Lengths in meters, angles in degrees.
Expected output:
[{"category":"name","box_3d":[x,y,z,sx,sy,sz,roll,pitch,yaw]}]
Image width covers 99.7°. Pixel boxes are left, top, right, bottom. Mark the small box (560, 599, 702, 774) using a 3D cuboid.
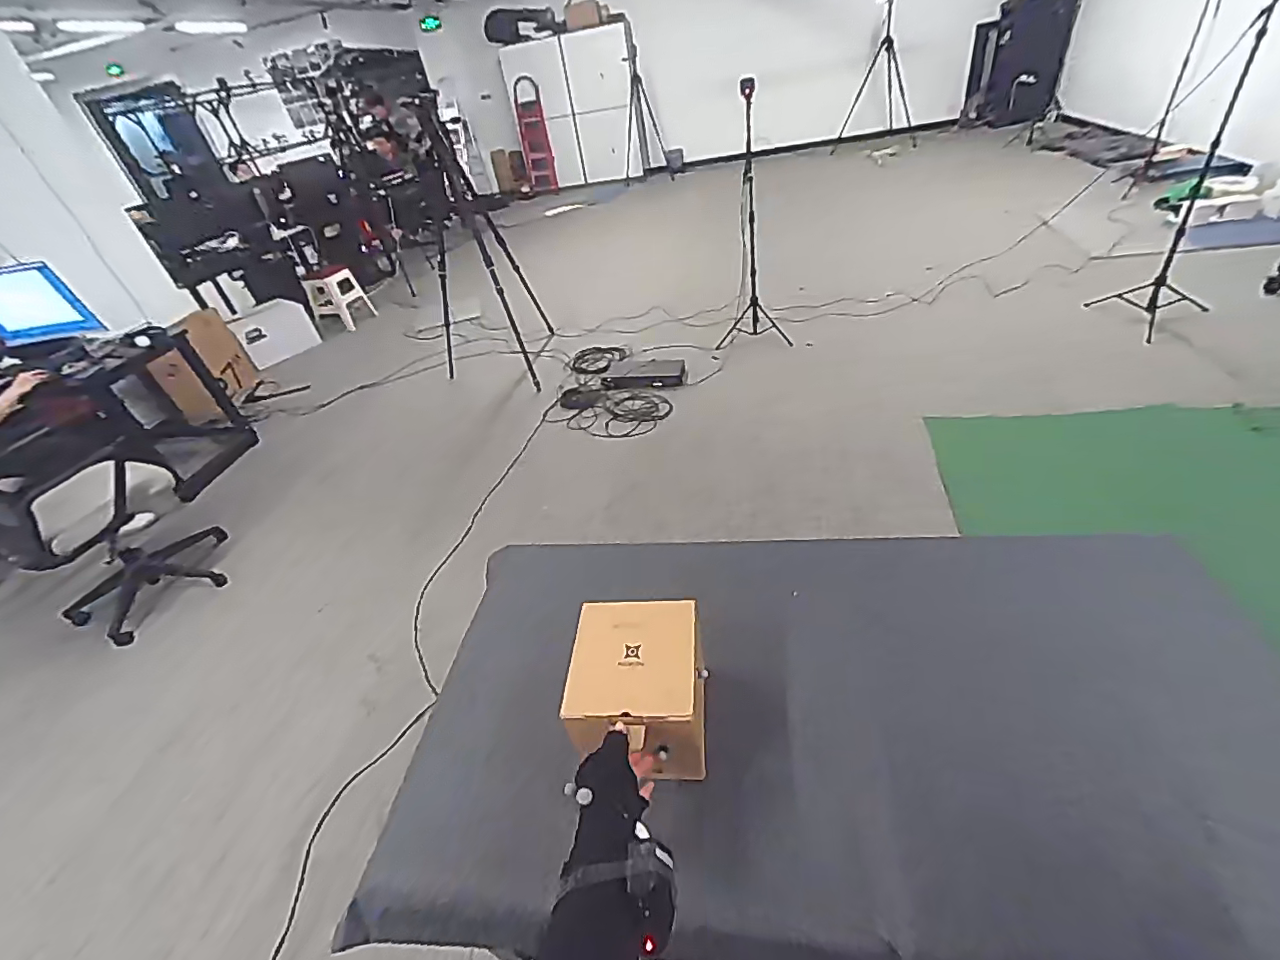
[{"category":"small box","box_3d":[-0.001,0.289,0.758,0.168,0.176,0.179,-3,37,8]}]
